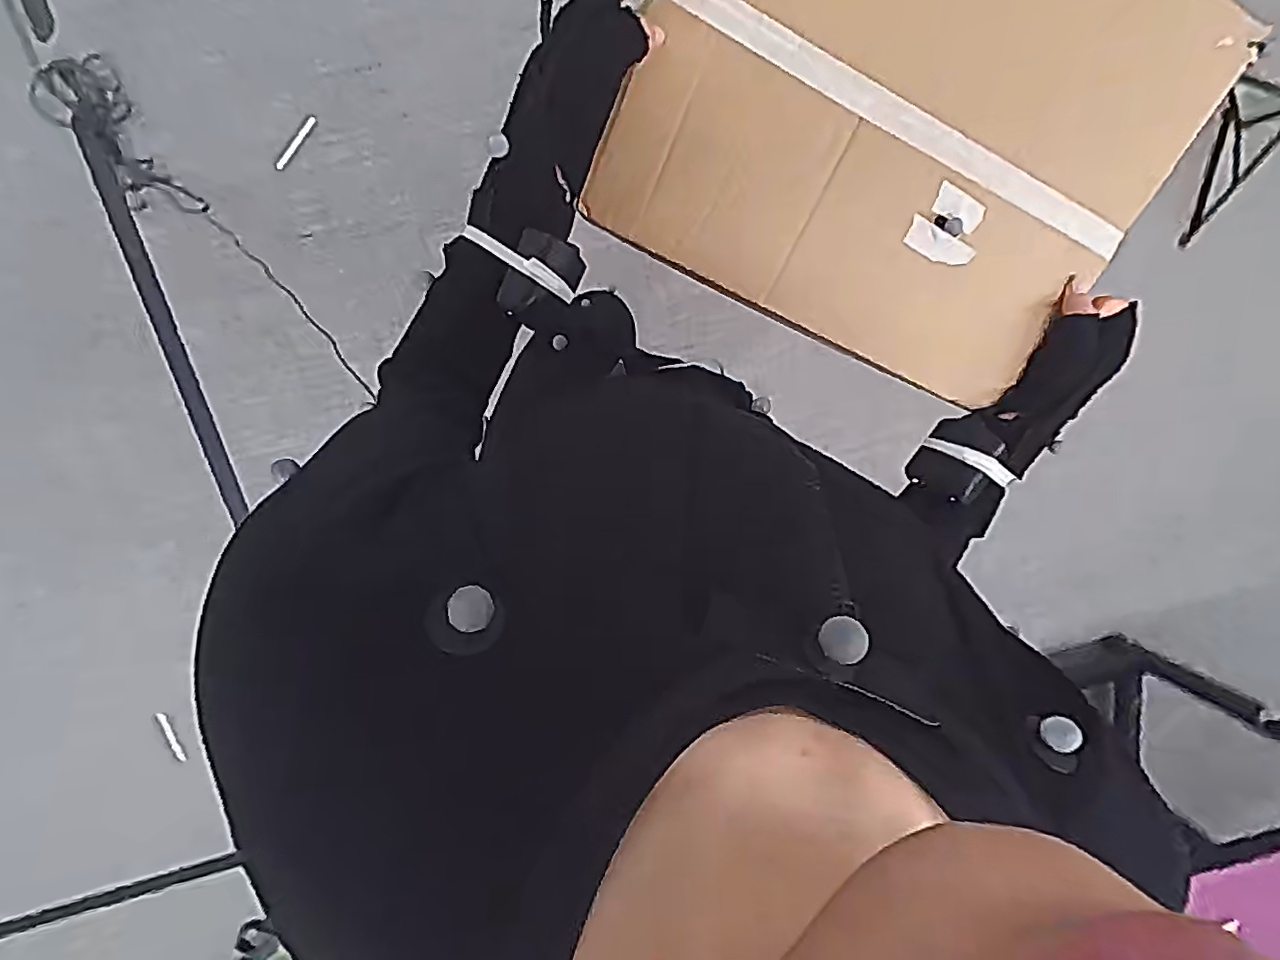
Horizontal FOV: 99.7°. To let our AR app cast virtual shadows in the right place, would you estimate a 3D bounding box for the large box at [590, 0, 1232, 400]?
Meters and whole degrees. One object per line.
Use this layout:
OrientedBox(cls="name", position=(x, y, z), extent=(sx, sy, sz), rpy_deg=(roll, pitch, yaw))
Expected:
OrientedBox(cls="large box", position=(0.190, -0.329, 0.548), extent=(0.408, 0.320, 0.320), rpy_deg=(22, 112, -12))
